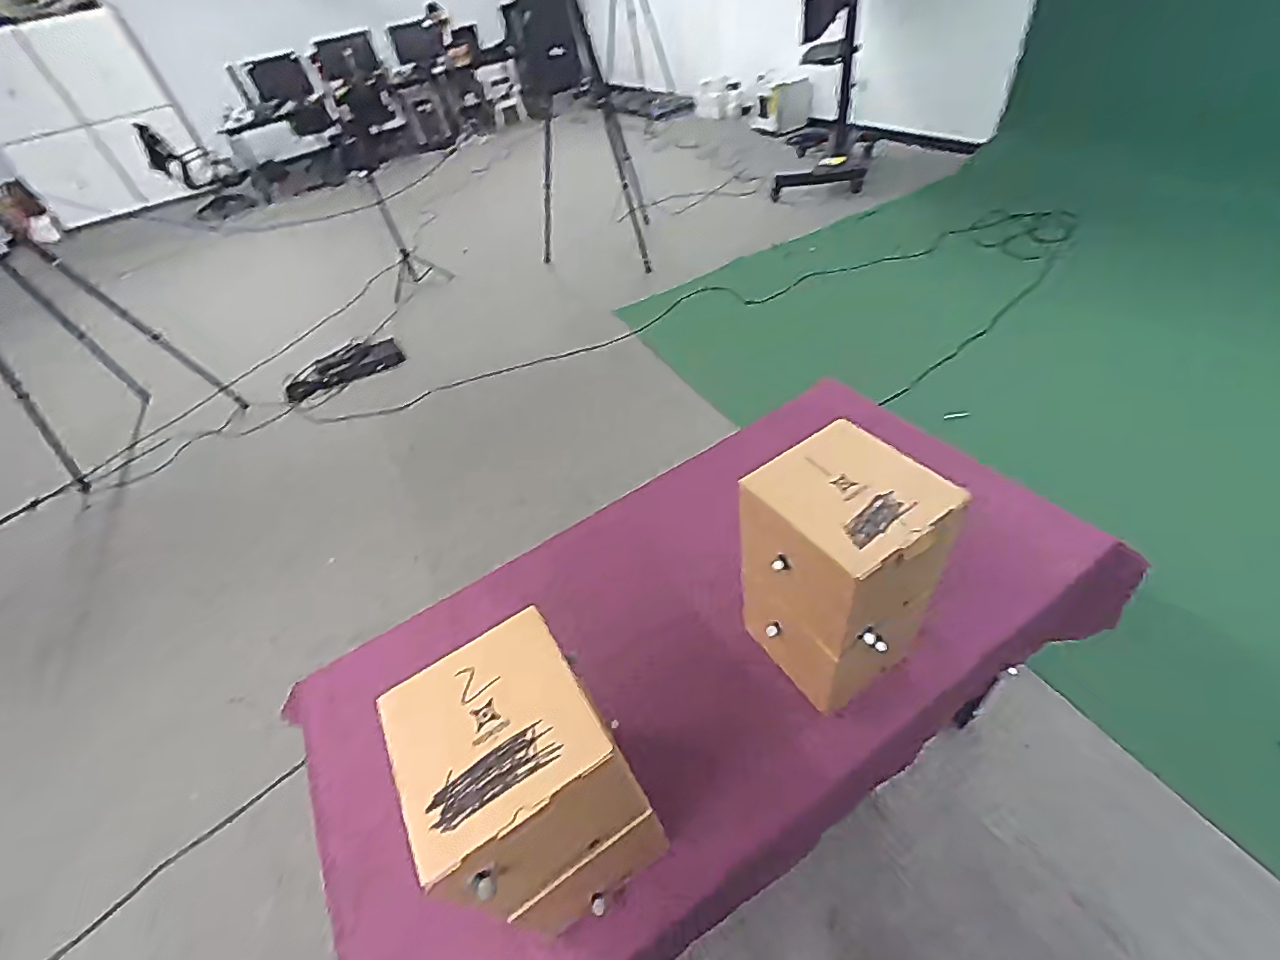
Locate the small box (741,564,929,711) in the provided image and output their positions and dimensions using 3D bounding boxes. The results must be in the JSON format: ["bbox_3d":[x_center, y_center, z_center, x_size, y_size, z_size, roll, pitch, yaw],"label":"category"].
[{"bbox_3d":[0.262,0.183,0.760,0.168,0.176,0.179,-31,46,-15],"label":"small box"}]

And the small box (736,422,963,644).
[{"bbox_3d":[0.235,0.068,0.645,0.168,0.176,0.179,-30,47,-17],"label":"small box"}]

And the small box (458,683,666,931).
[{"bbox_3d":[-0.087,0.387,0.642,0.168,0.176,0.179,-29,47,-15],"label":"small box"}]
